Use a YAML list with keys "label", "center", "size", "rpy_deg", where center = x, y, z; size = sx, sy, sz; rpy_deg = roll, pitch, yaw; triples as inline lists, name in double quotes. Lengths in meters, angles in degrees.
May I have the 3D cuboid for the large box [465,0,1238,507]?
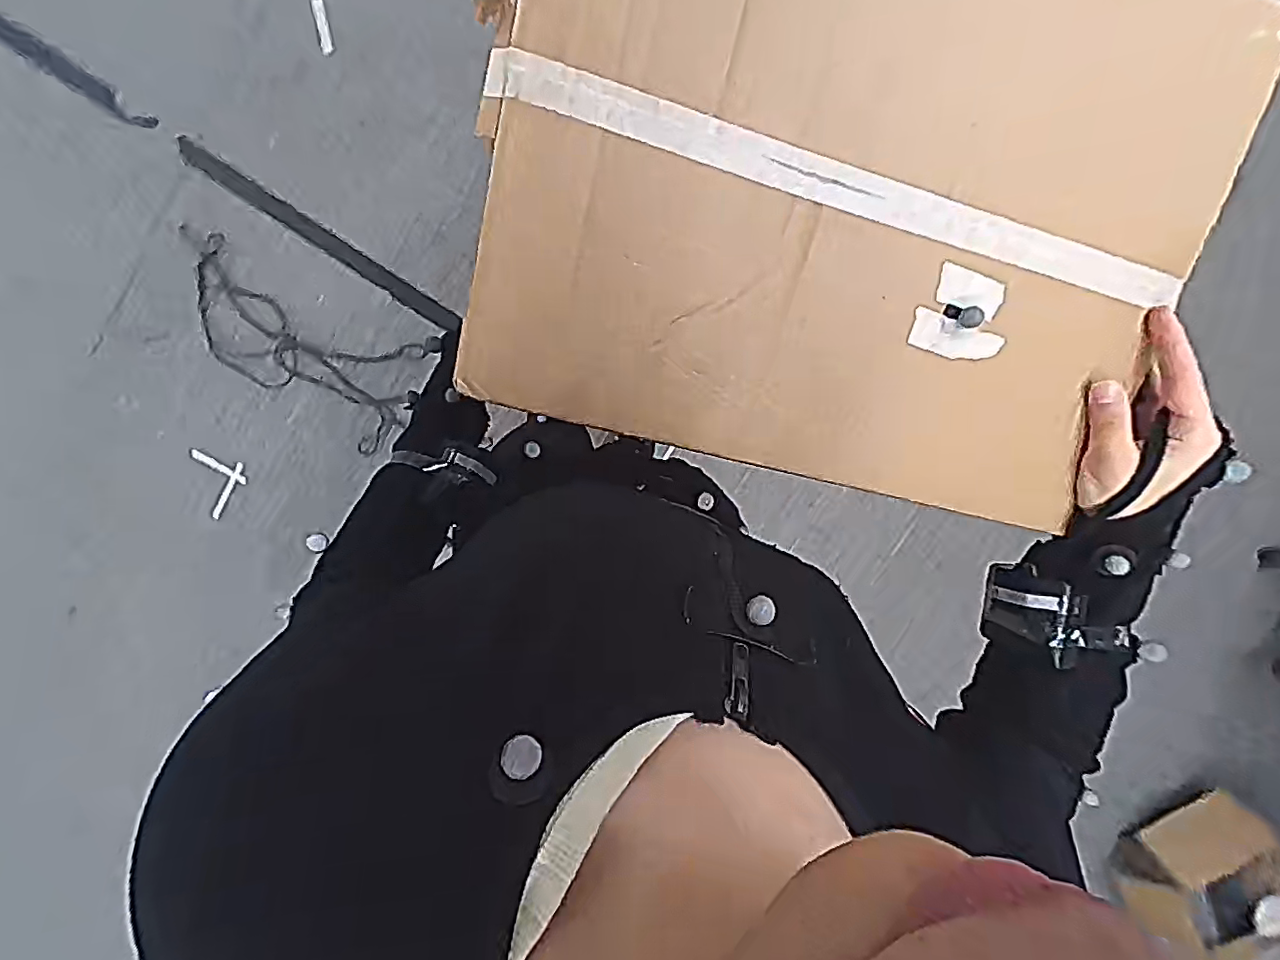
- label: "large box"
  center: [0.099, -0.194, 0.447]
  size: [0.408, 0.320, 0.320]
  rpy_deg: [10, 104, -11]
